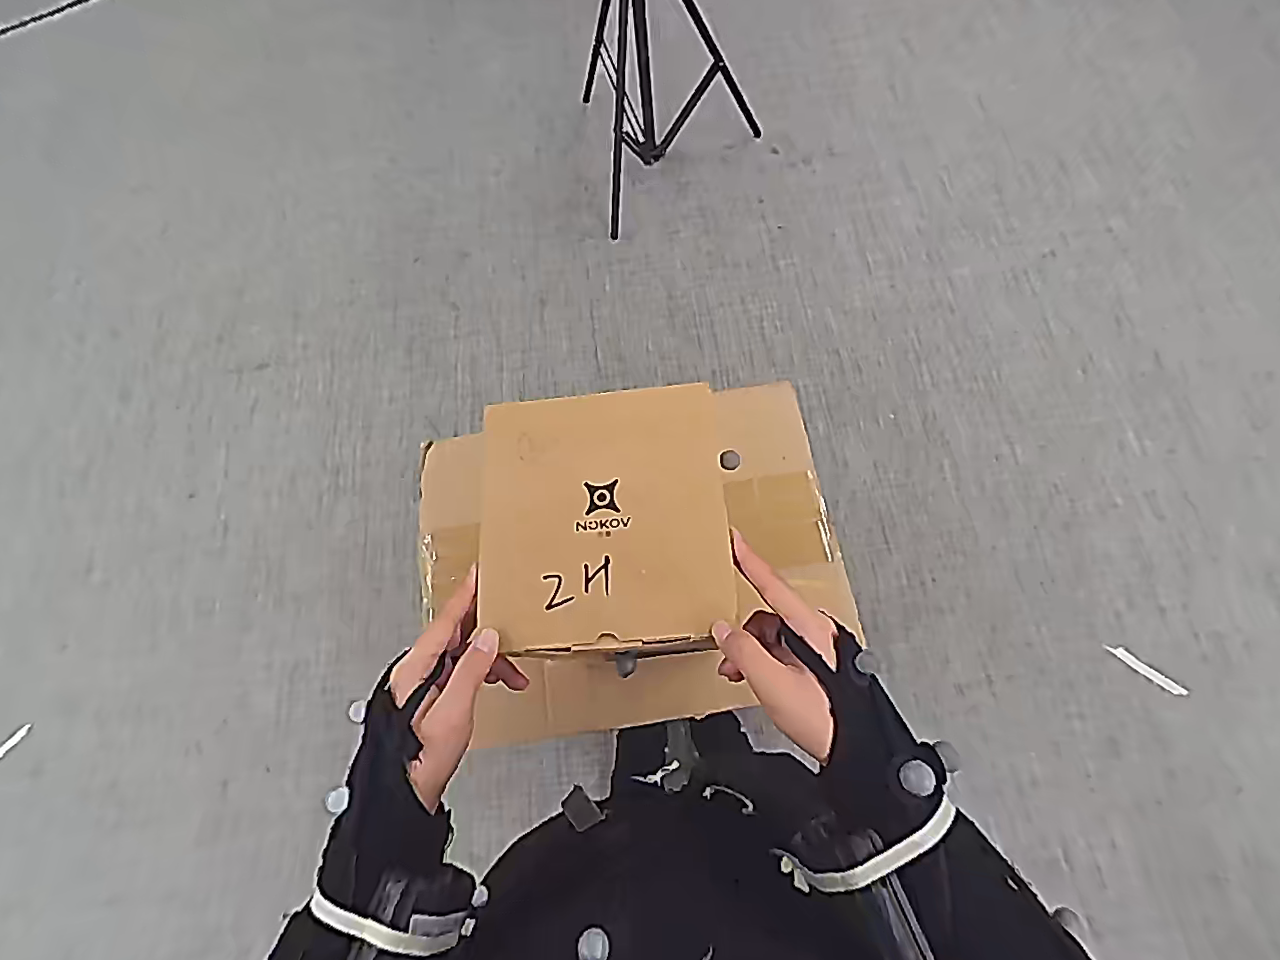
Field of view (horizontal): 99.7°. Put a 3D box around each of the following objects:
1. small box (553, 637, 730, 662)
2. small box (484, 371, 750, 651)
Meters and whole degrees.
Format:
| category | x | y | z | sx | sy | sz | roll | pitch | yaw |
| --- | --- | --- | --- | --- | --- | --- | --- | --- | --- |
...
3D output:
| category | x | y | z | sx | sy | sz | roll | pitch | yaw |
| --- | --- | --- | --- | --- | --- | --- | --- | --- | --- |
| small box | 0.002 | 0.099 | 0.586 | 0.168 | 0.176 | 0.179 | -8 | 70 | 3 |
| small box | -0.011 | 0.037 | 0.431 | 0.168 | 0.176 | 0.179 | -5 | 70 | 5 |
